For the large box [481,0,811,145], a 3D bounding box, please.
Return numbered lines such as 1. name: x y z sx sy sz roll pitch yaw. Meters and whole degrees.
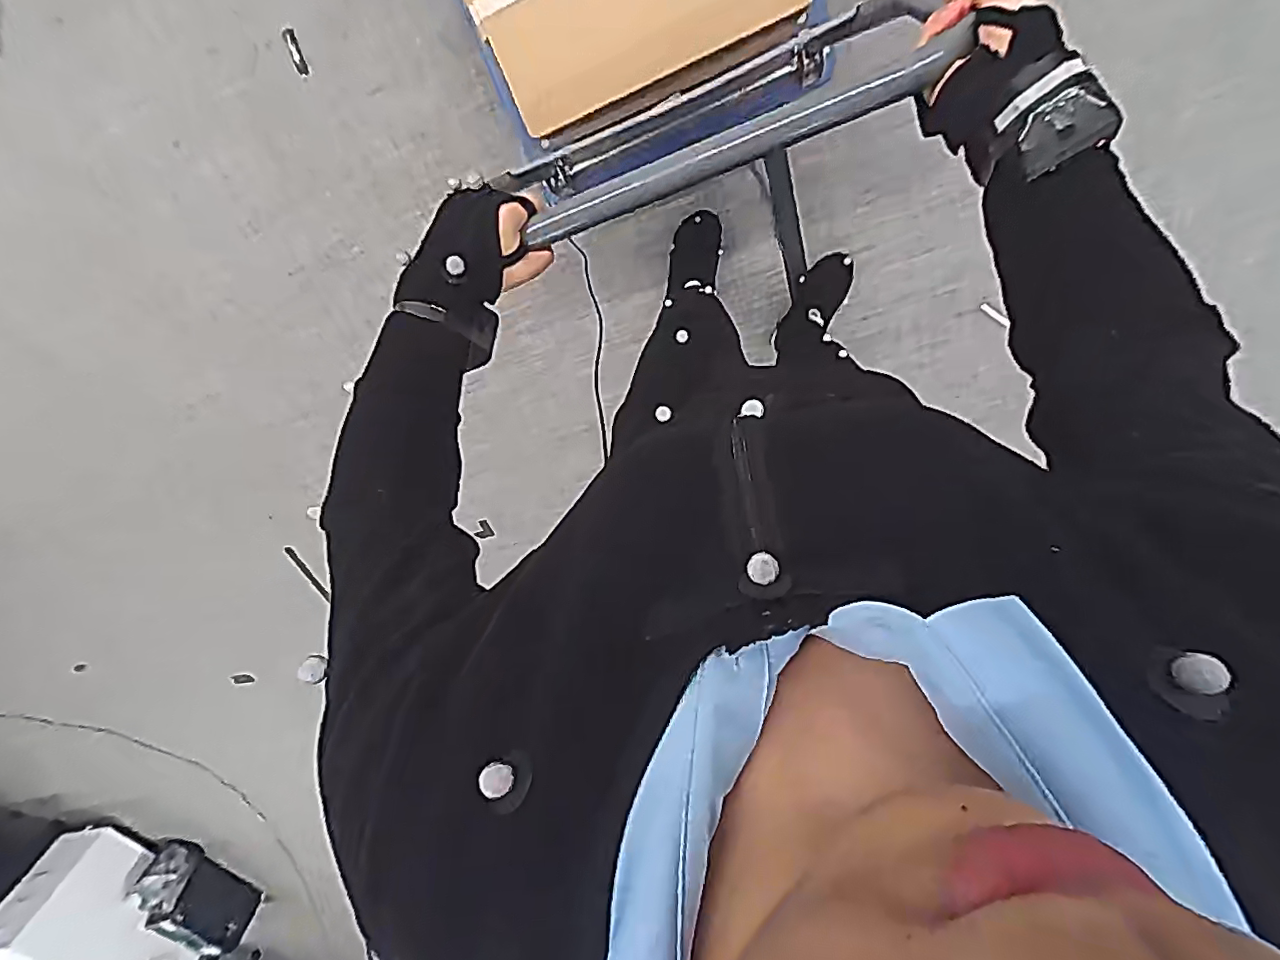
1. large box: -0.011 -0.743 0.790 0.408 0.320 0.320 -17 119 14
